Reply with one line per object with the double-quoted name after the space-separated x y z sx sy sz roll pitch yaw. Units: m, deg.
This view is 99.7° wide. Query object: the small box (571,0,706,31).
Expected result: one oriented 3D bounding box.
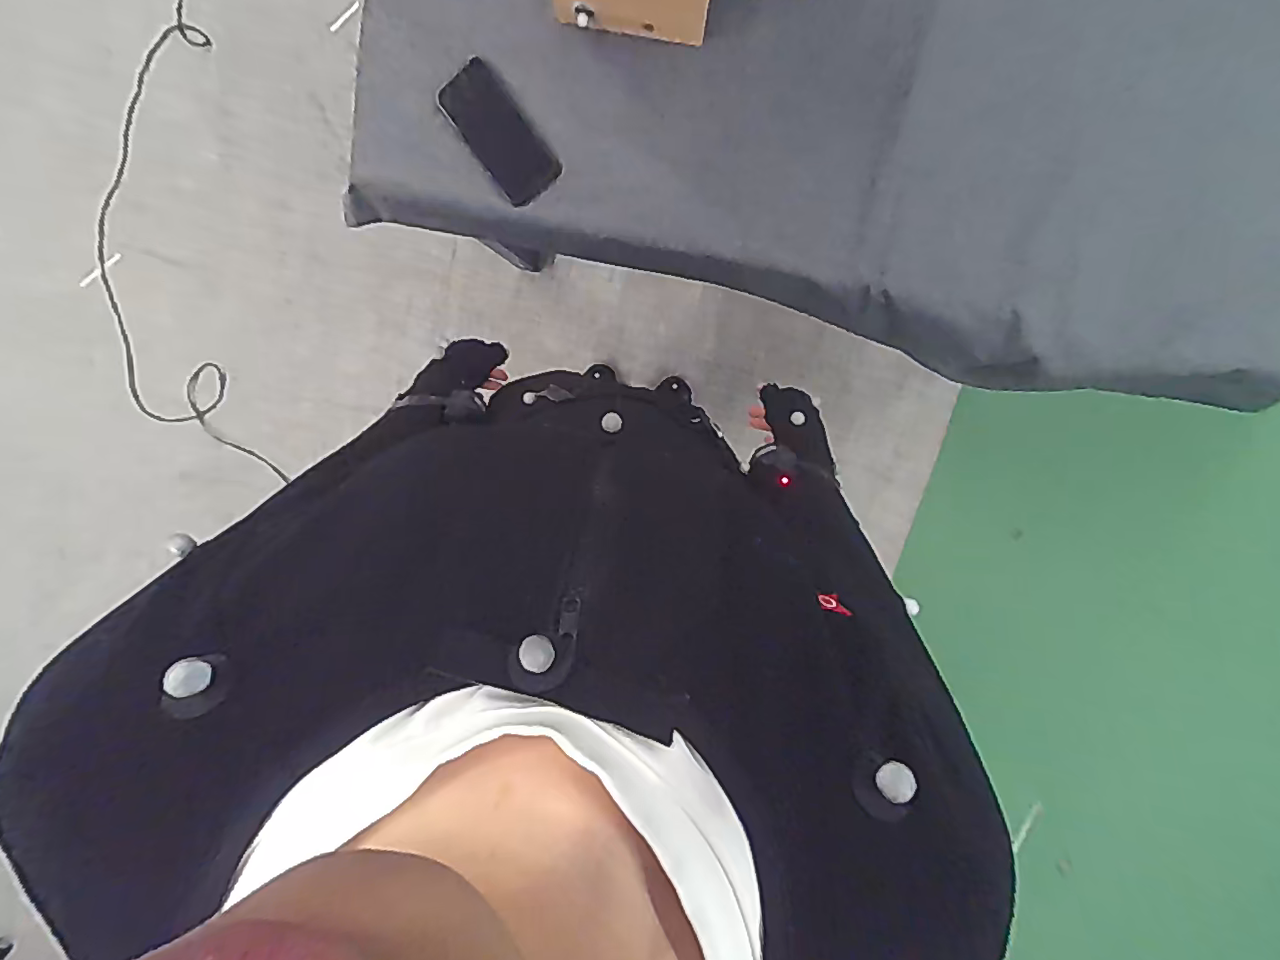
0.000 -0.581 0.516 0.168 0.176 0.179 9 102 -1 "small box"
